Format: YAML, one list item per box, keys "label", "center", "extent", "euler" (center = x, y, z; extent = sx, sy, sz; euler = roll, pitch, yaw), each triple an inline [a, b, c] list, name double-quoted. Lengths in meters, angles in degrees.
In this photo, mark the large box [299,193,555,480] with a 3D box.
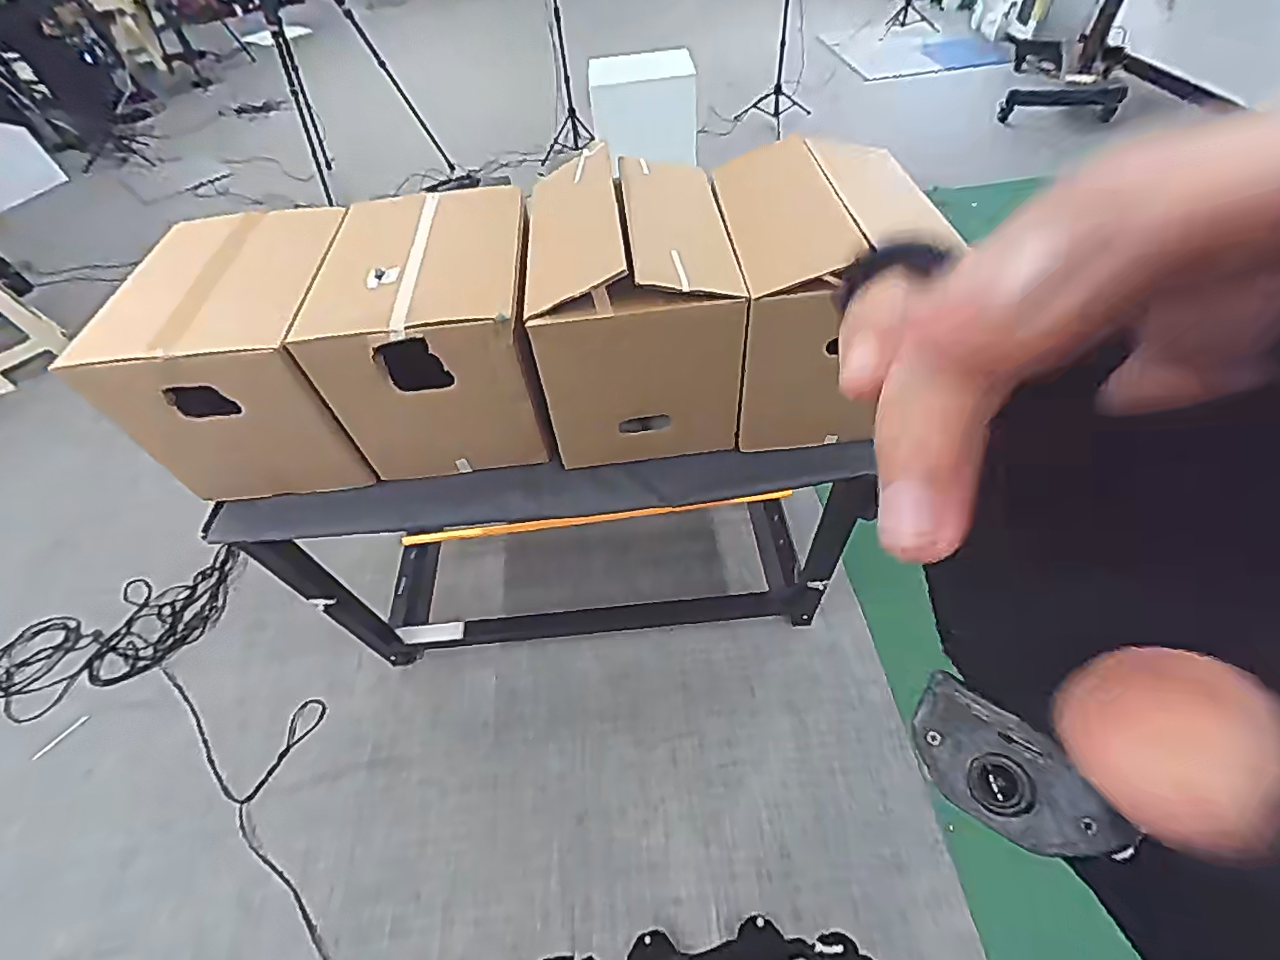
- label: "large box"
  center: [-0.334, -0.260, 0.982]
  extent: [0.320, 0.320, 0.408]
  euler: [-7, 53, 0]
